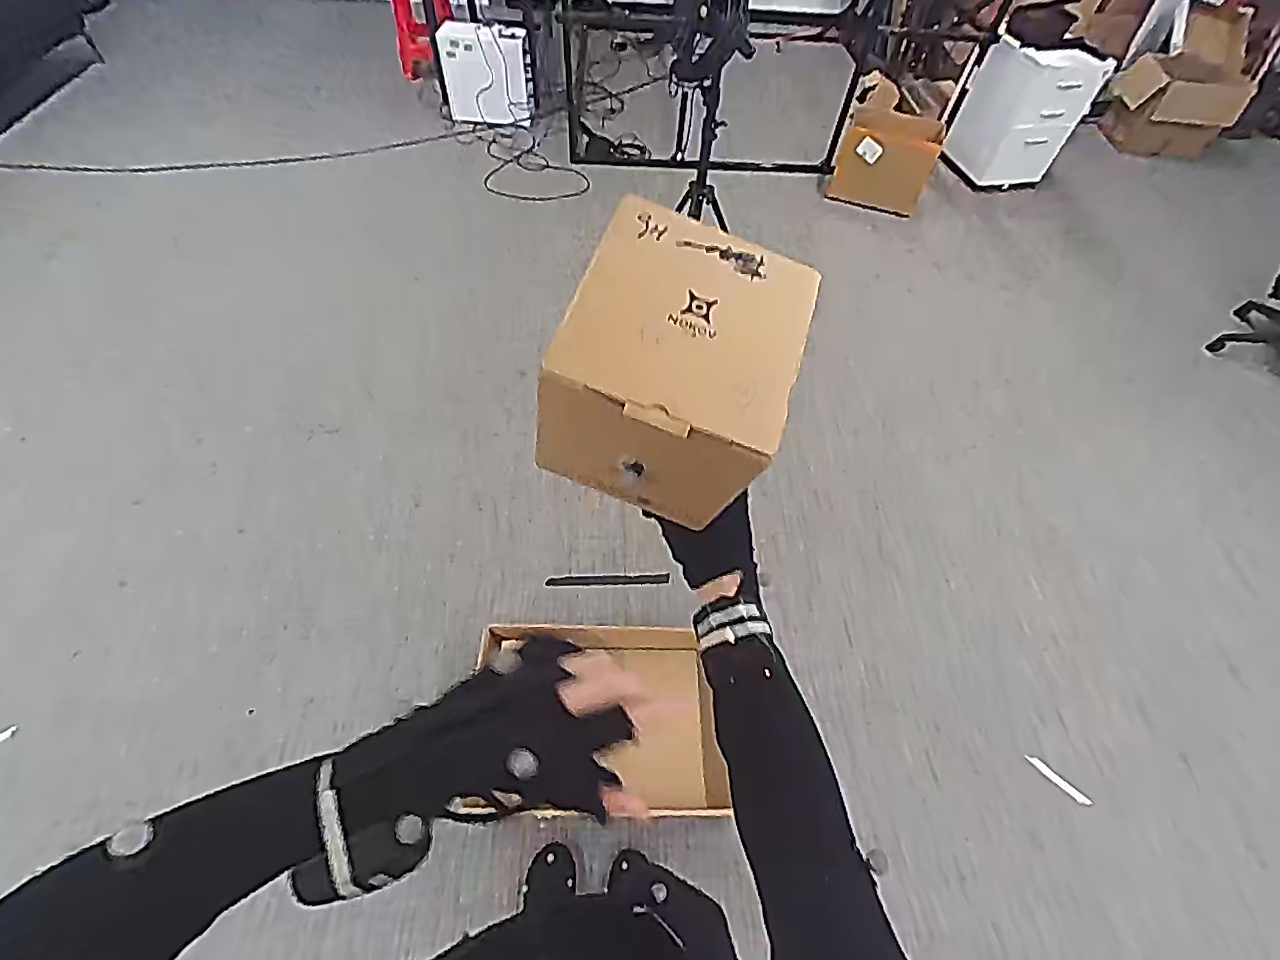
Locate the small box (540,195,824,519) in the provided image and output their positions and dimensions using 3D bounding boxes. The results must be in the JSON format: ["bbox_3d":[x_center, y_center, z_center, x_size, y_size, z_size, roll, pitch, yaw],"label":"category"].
[{"bbox_3d":[0.027,-0.087,0.455,0.168,0.176,0.179,21,67,-2],"label":"small box"}]
